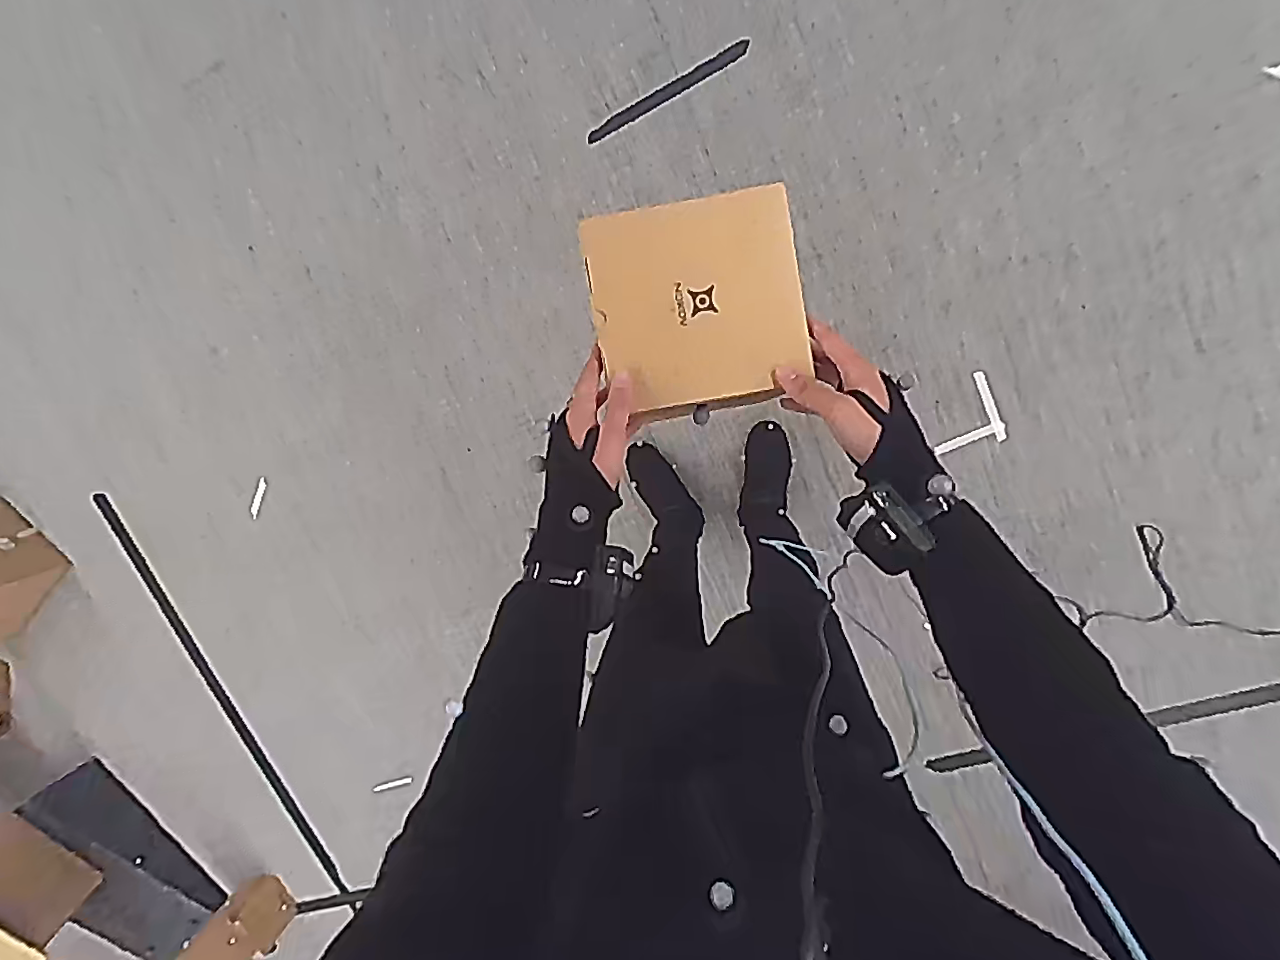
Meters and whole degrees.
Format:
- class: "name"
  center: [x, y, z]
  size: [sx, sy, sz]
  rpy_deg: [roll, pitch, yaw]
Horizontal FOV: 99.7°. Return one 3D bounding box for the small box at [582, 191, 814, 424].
- class: "small box"
  center: [0.050, -0.150, 0.530]
  size: [0.179, 0.176, 0.168]
  rpy_deg: [-10, 94, 2]
